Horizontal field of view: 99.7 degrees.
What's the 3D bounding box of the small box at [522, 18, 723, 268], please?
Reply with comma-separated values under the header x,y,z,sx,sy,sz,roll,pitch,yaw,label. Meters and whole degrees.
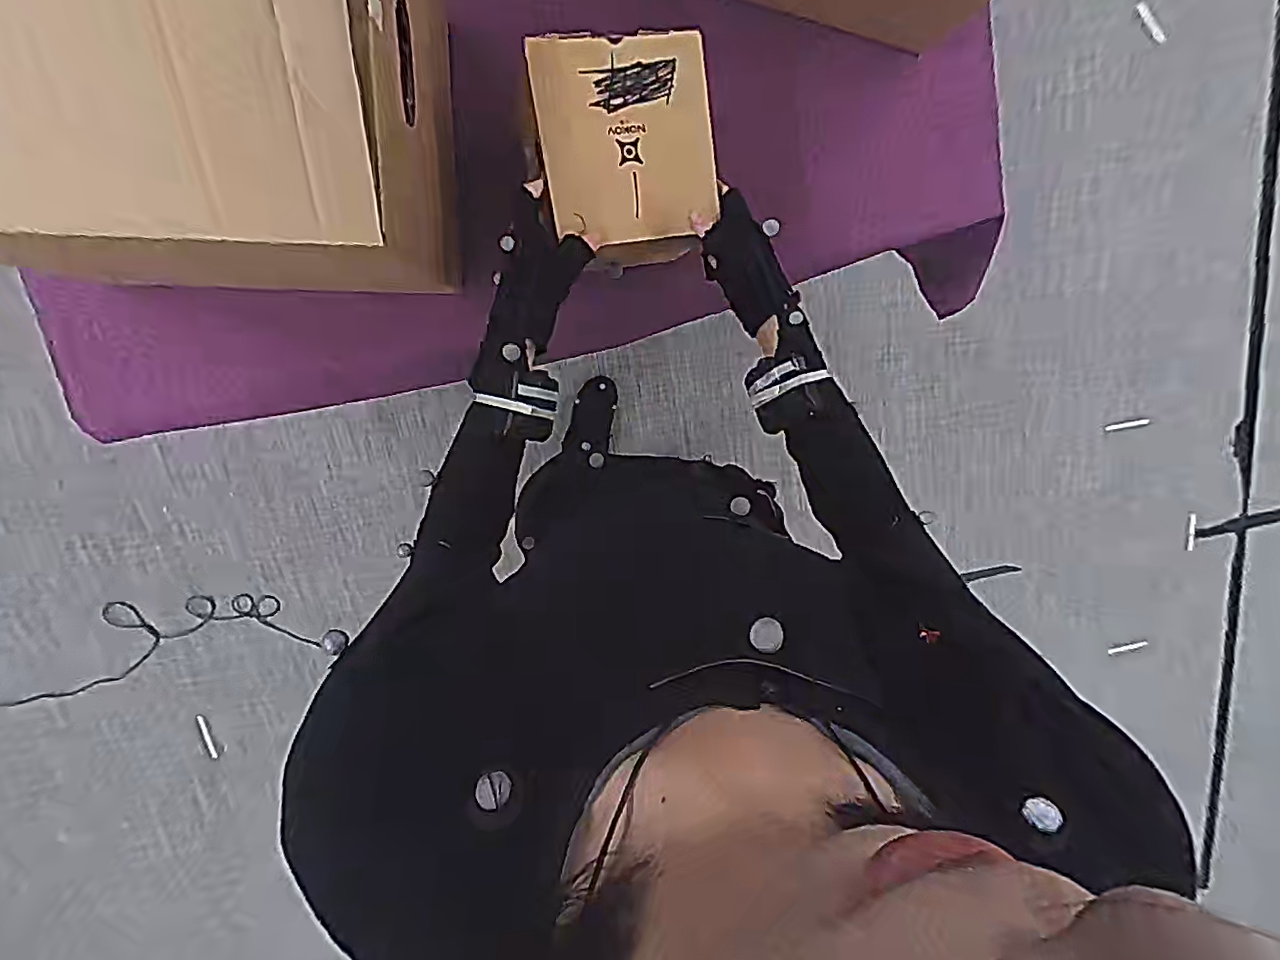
x,y,z,sx,sy,sz,roll,pitch,yaw,label
-0.027,-0.335,0.568,0.168,0.176,0.179,-11,104,-11,small box
